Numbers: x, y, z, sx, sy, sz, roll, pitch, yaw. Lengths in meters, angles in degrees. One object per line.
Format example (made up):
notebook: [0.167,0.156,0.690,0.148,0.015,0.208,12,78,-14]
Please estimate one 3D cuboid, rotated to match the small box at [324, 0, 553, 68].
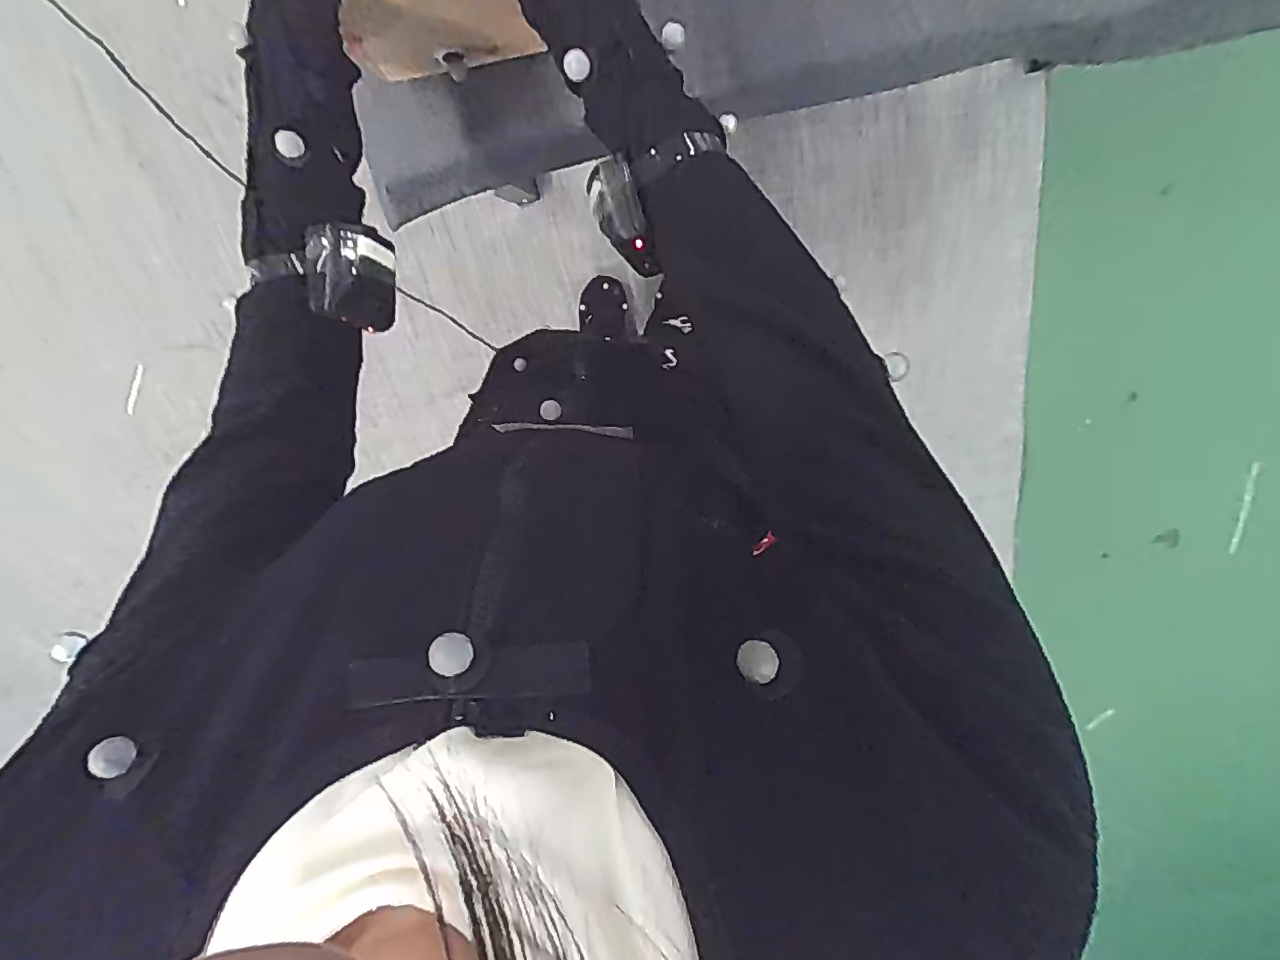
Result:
small box: [-0.162,-0.429,0.376,0.168,0.176,0.179,-10,112,0]
